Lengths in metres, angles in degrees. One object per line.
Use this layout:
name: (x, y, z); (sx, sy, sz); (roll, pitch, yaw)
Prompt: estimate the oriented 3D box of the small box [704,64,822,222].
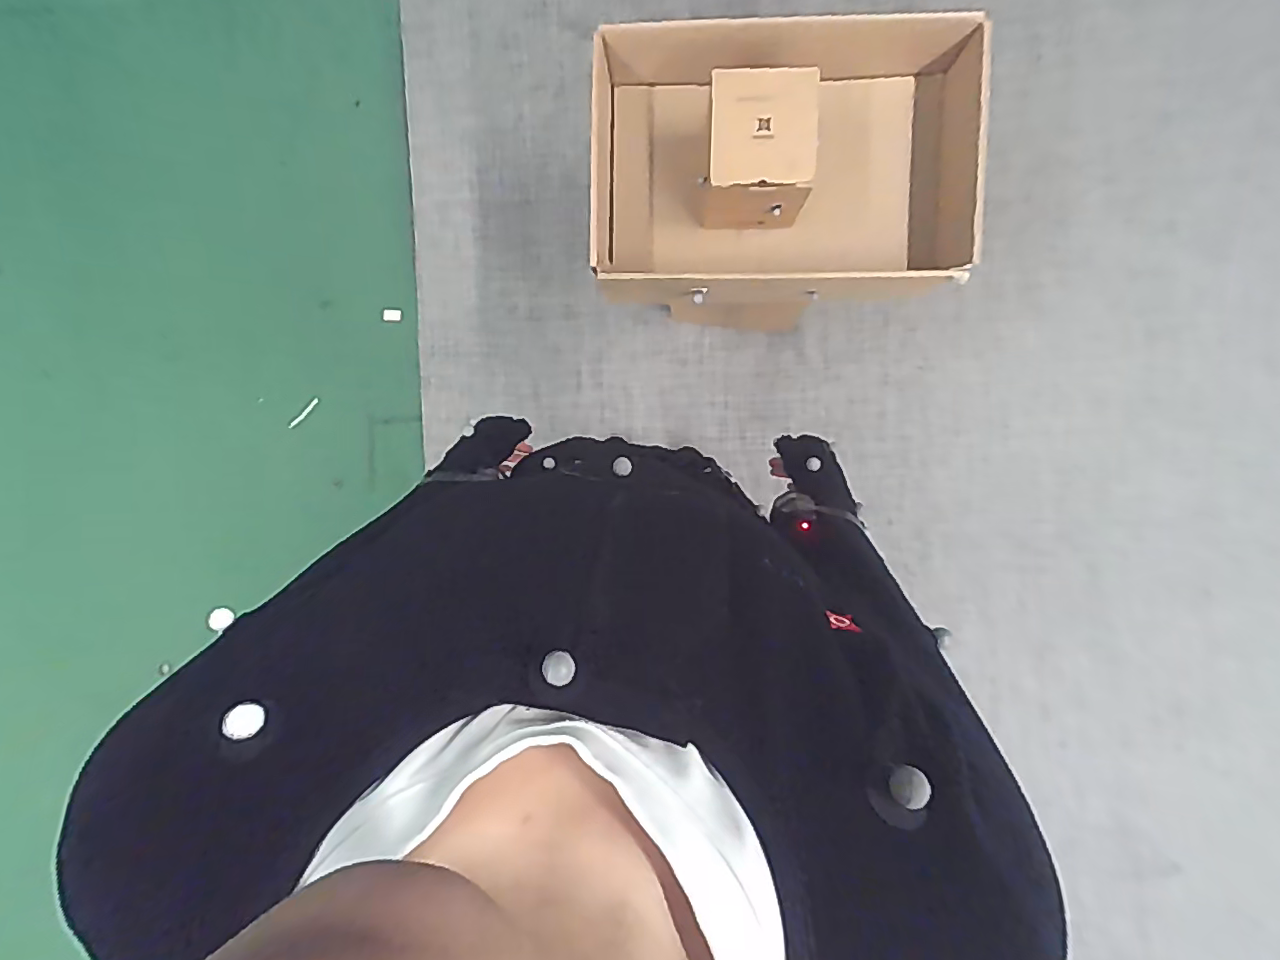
small box: (0.198, -0.554, 0.911); (0.168, 0.176, 0.179); (1, 93, 2)
